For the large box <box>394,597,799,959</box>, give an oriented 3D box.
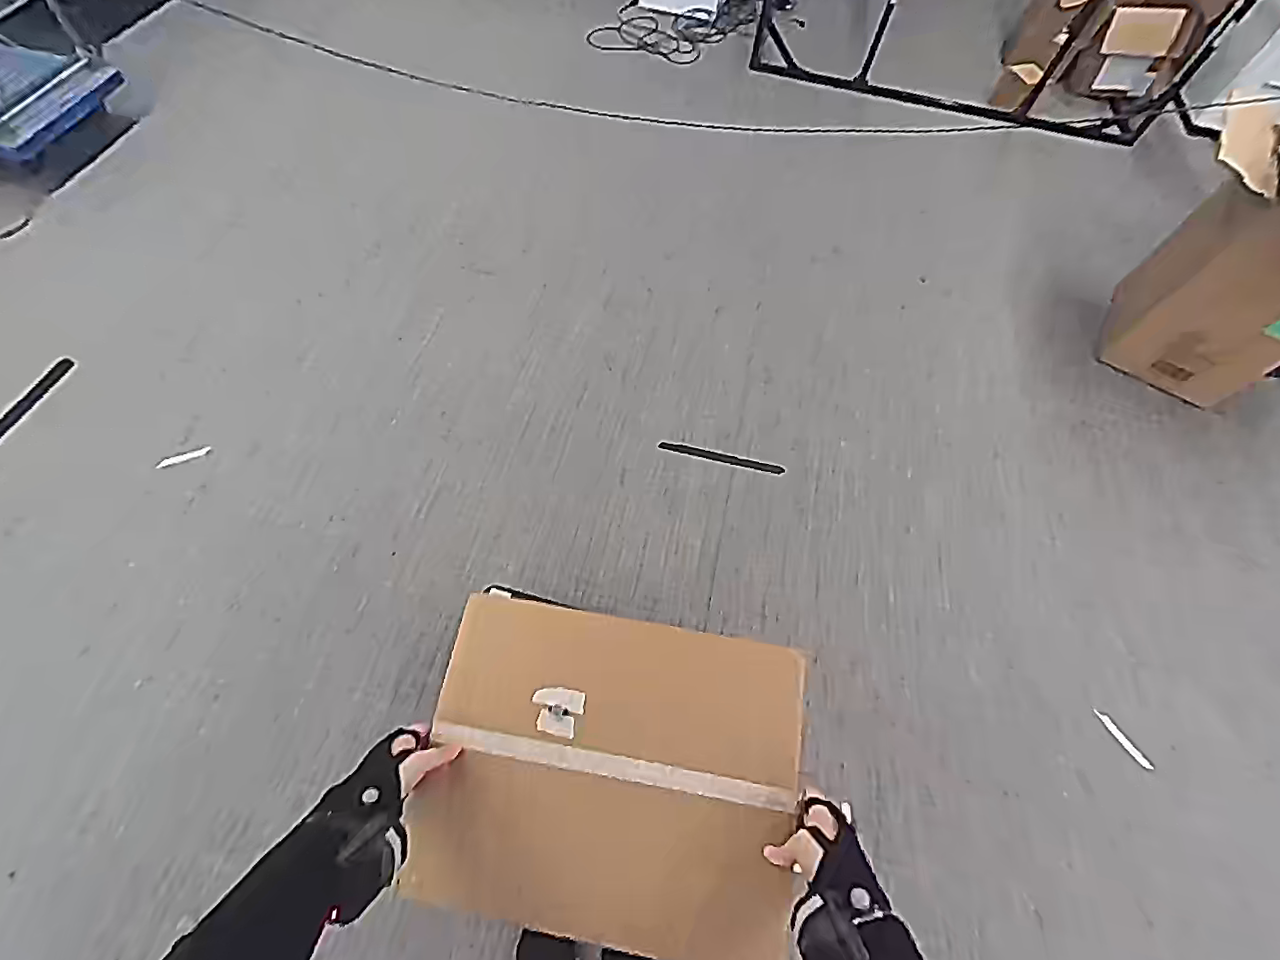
[{"bbox_3d":[-0.026,0.361,0.724,0.408,0.320,0.320,8,68,6],"label":"large box"}]
